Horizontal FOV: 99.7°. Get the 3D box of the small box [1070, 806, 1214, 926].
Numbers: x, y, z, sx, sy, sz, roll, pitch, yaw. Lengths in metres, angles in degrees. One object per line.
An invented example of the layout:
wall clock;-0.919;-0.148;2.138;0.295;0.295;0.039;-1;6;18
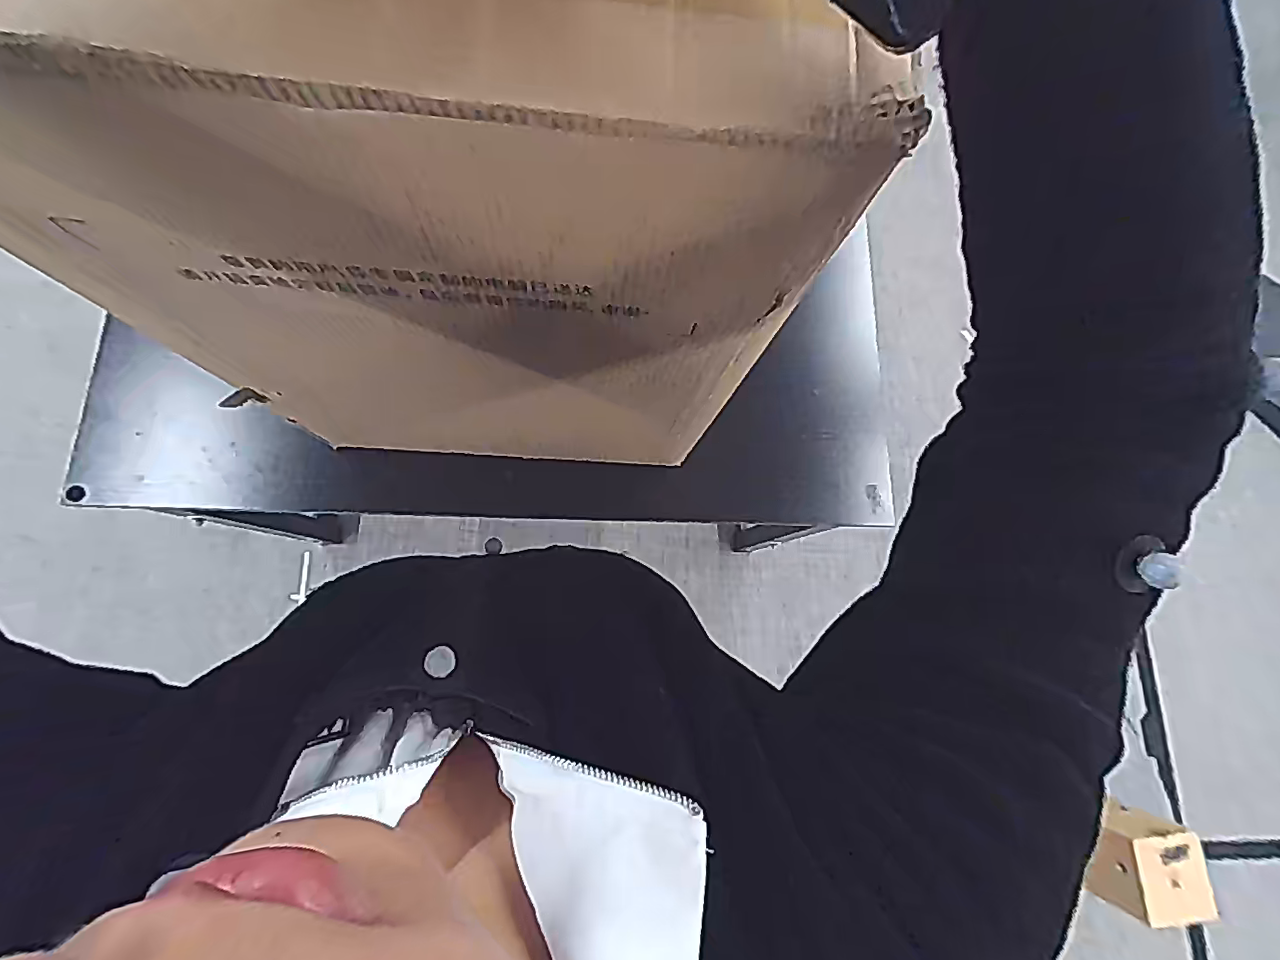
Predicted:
small box;1.158;0.886;1.263;0.168;0.176;0.179;-2;78;-6
